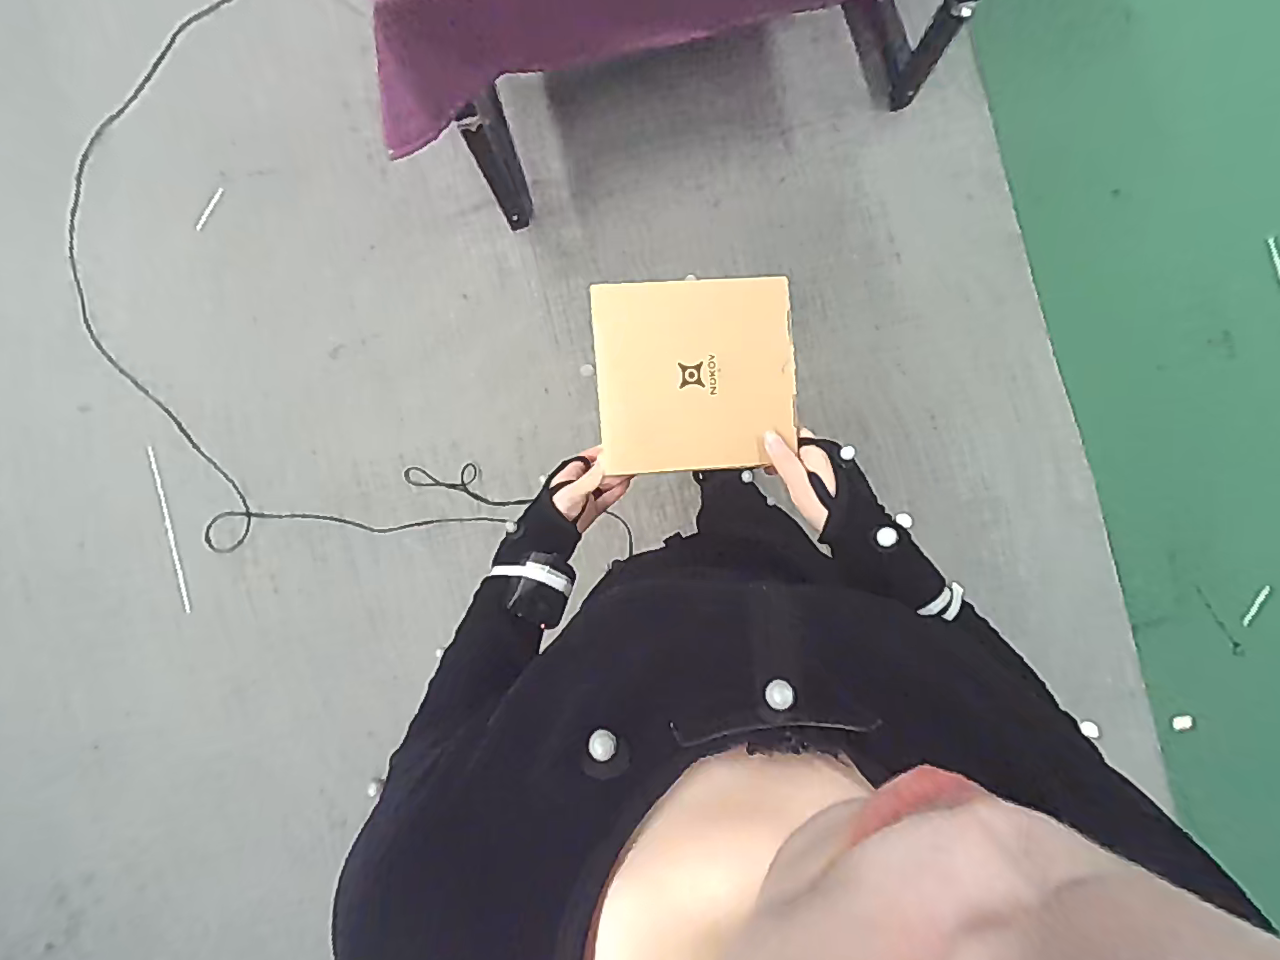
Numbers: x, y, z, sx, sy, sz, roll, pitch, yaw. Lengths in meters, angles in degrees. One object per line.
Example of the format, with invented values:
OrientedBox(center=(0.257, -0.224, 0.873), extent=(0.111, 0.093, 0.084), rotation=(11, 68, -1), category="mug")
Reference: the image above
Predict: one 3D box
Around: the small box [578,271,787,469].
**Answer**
OrientedBox(center=(0.033, -0.098, 0.552), extent=(0.179, 0.176, 0.168), rotation=(-5, 92, -6), category="small box")
